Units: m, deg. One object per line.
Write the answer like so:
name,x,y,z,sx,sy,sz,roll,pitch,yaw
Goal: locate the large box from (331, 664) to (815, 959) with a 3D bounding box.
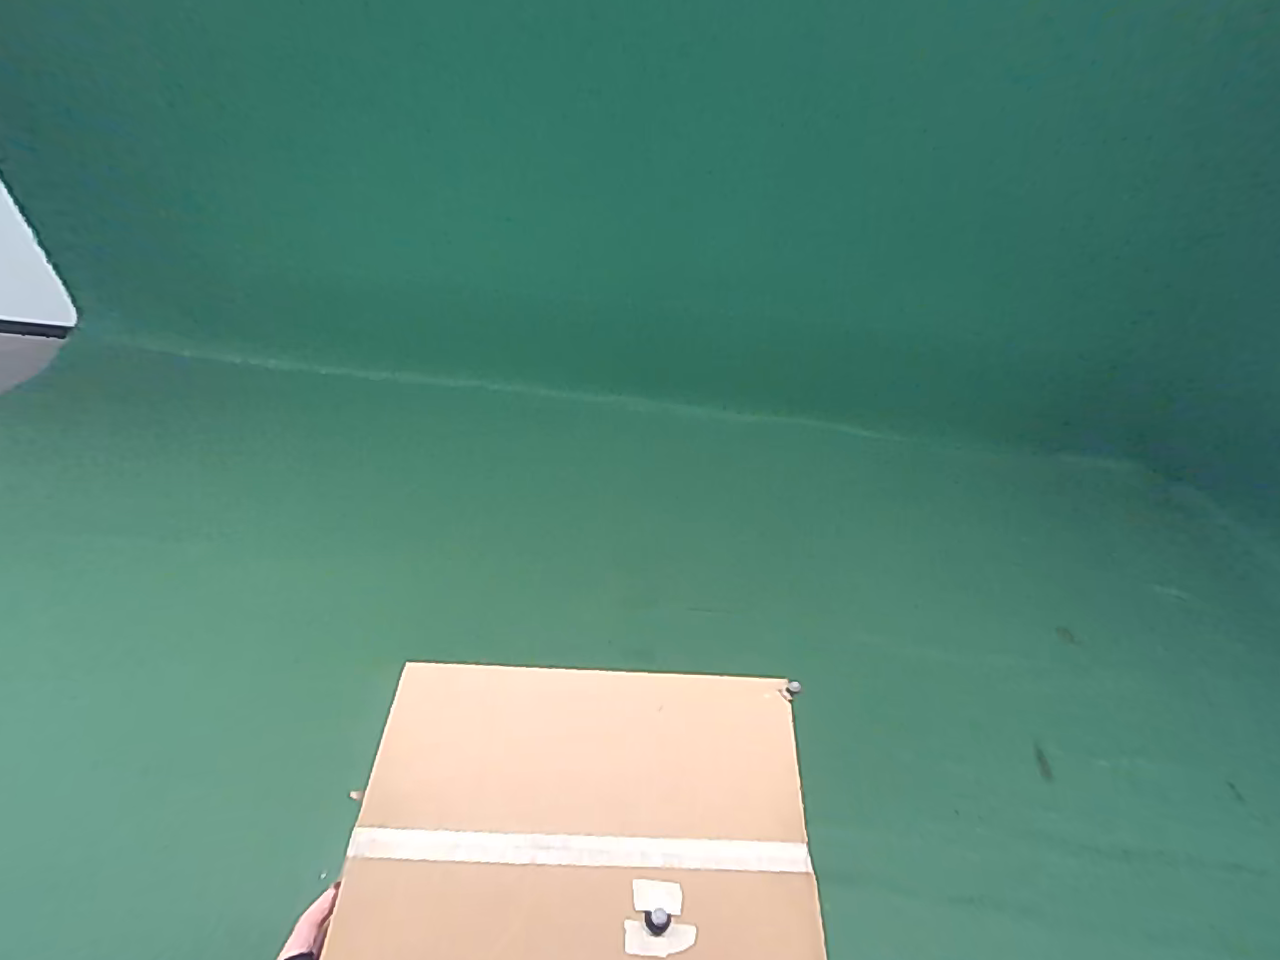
large box,-0.059,0.417,0.609,0.408,0.320,0.320,3,54,-2
